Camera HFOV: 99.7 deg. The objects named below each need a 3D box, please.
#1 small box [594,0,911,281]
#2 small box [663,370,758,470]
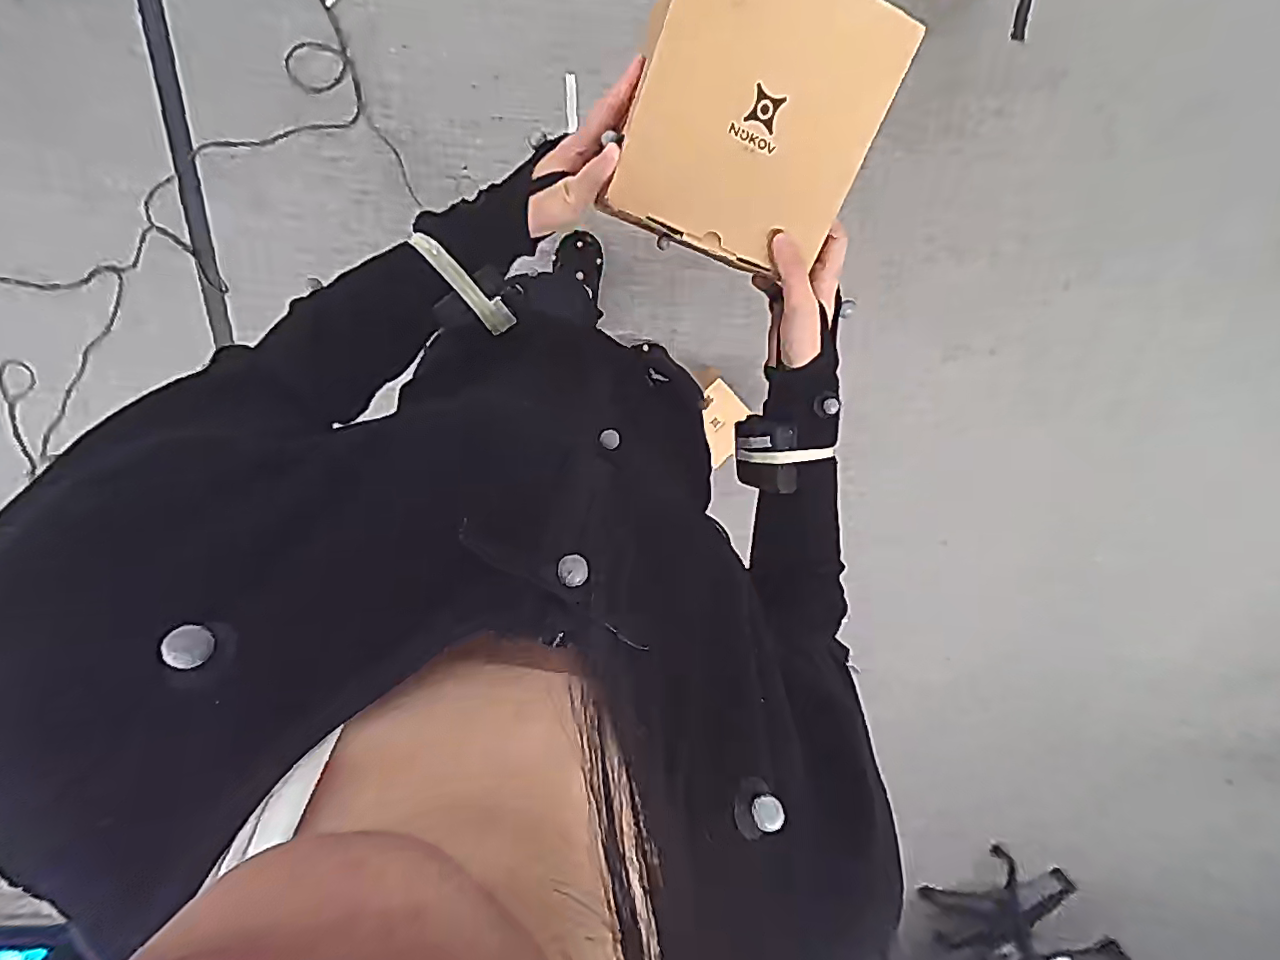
[{"bbox_3d":[0.065,-0.285,0.437,0.168,0.176,0.179,16,114,-16],"label":"small box"},{"bbox_3d":[0.179,-0.164,1.421,0.168,0.176,0.179,-41,109,13],"label":"small box"}]
